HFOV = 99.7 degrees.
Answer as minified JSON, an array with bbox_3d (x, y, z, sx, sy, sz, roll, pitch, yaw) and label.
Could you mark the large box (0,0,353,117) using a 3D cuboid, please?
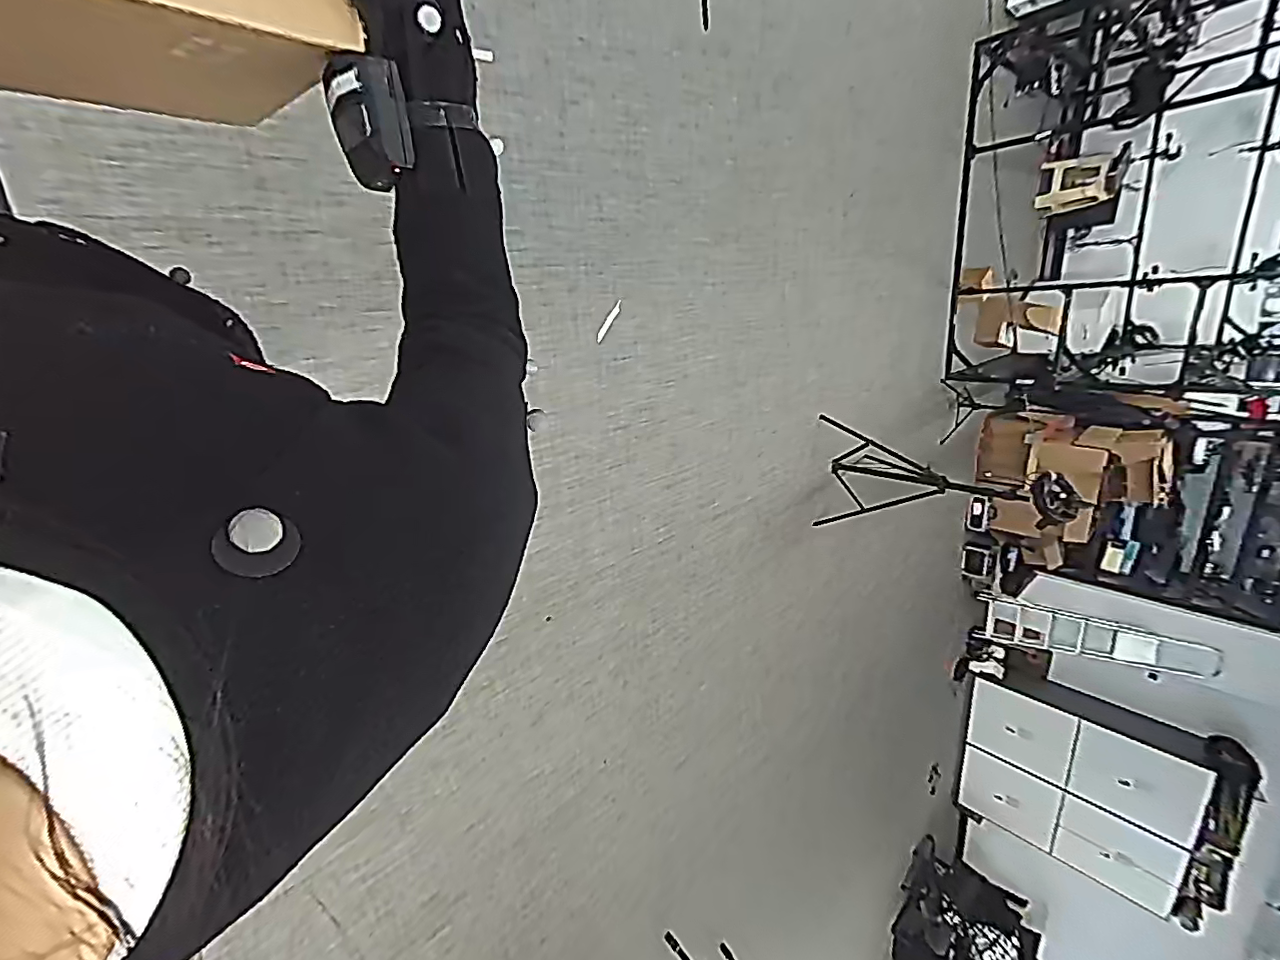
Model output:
[{"bbox_3d":[-0.422,-0.398,0.247,0.408,0.320,0.320,-20,122,-41],"label":"large box"}]
